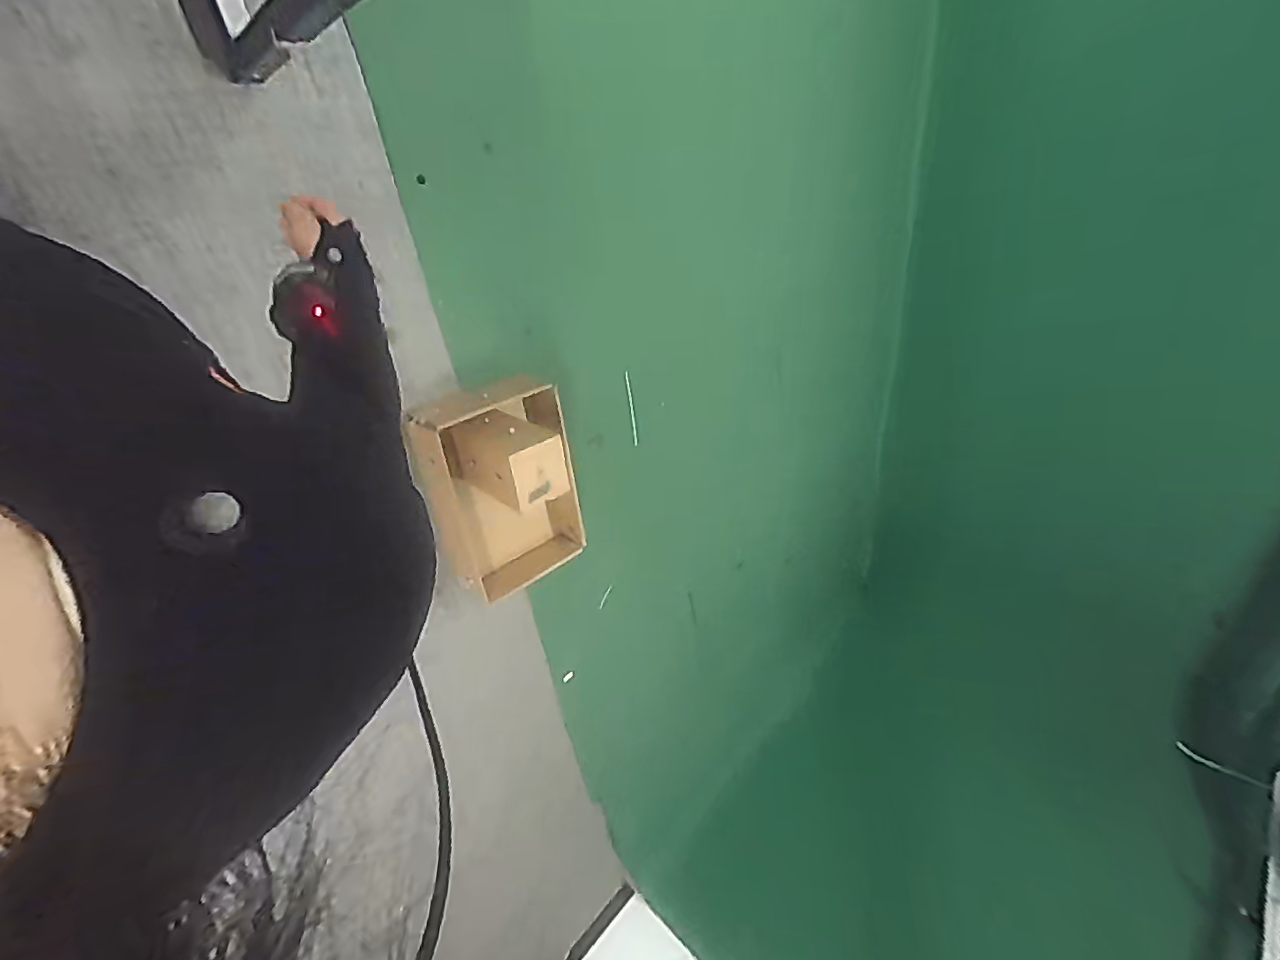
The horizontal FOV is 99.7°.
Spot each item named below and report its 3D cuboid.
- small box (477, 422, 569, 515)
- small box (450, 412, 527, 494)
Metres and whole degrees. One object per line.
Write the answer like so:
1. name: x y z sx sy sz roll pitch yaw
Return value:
1. small box: -0.318 -0.038 1.469 0.168 0.176 0.179 -29 126 -36
2. small box: -0.429 -0.089 1.578 0.168 0.176 0.179 -29 128 -34
